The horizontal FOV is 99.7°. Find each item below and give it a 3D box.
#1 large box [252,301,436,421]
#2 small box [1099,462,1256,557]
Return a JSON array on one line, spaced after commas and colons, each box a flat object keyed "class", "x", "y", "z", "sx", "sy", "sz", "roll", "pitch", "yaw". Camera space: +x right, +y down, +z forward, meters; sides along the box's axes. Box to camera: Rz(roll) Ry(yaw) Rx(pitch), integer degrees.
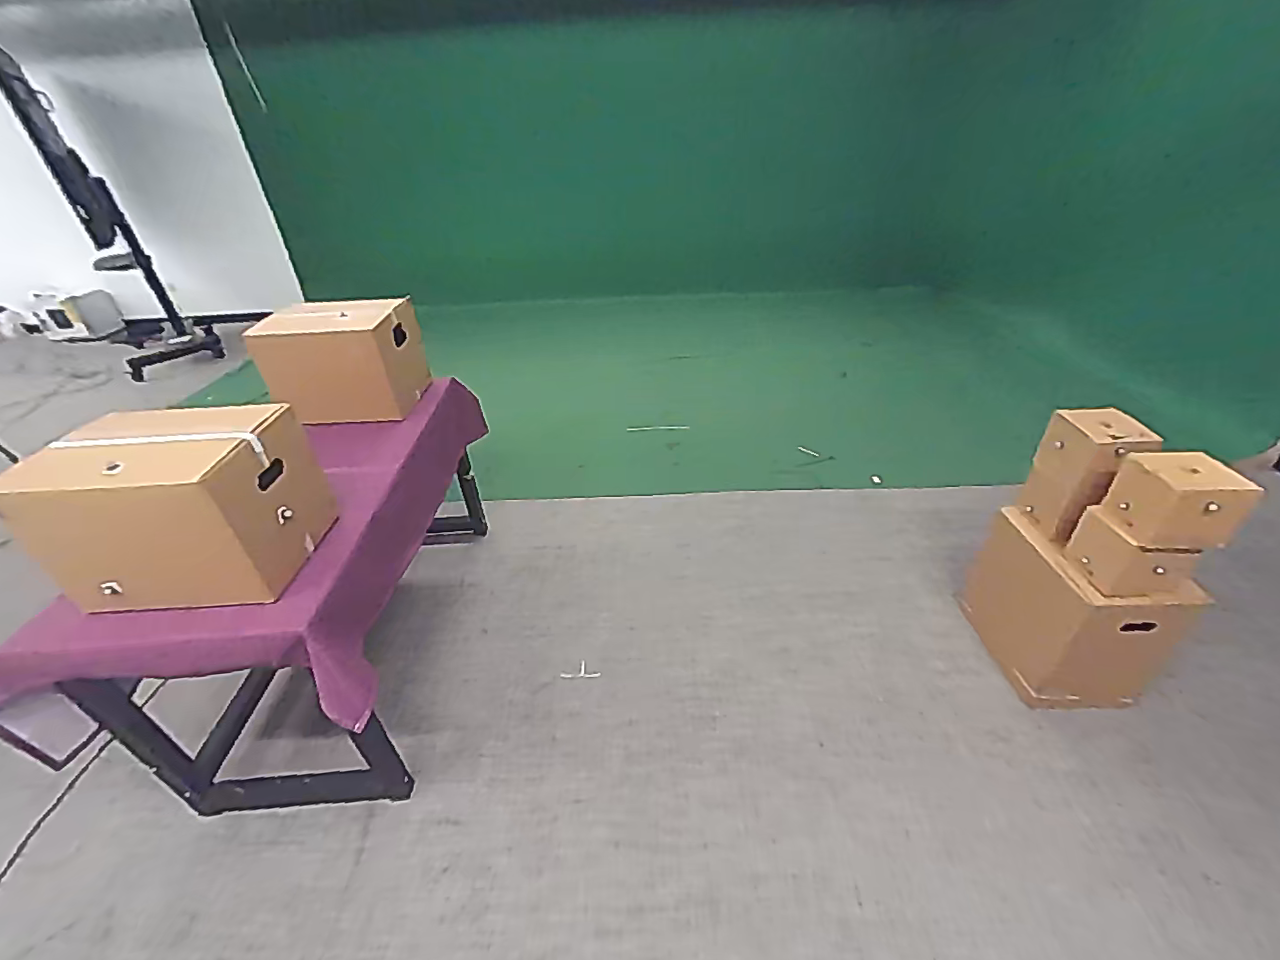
[{"class": "large box", "x": -0.964, "y": -0.402, "z": 1.819, "sx": 0.408, "sy": 0.320, "sz": 0.320, "roll": -1, "pitch": 35, "yaw": 1}, {"class": "small box", "x": 1.269, "y": 0.071, "z": 1.295, "sx": 0.179, "sy": 0.176, "sz": 0.168, "roll": 0, "pitch": 33, "yaw": 4}]
